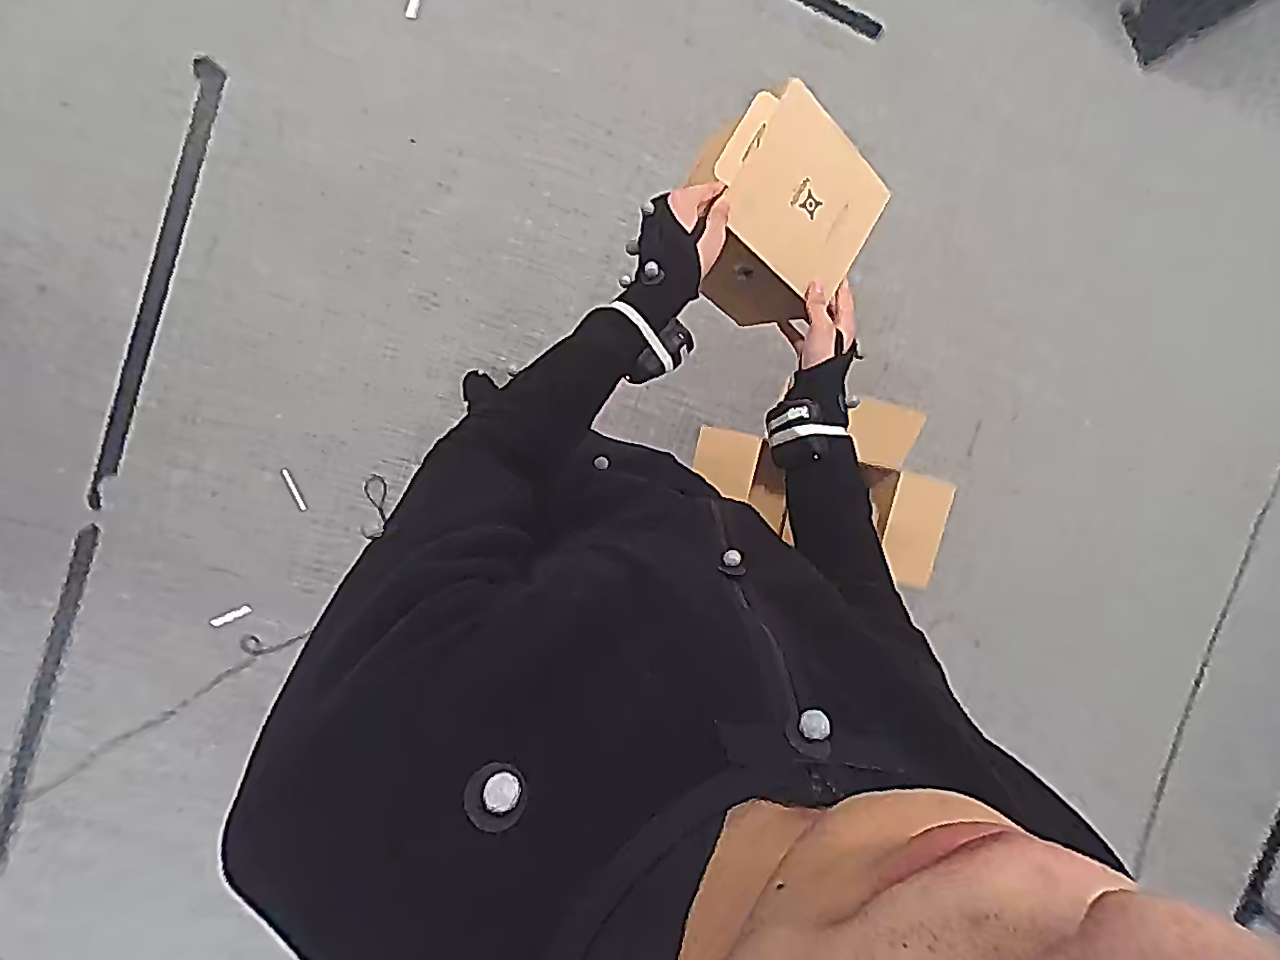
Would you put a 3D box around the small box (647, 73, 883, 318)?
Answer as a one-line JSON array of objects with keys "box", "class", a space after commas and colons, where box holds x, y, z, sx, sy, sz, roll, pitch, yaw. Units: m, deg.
[{"box": [0.136, -0.310, 0.639, 0.179, 0.176, 0.168, 30, 88, -25], "class": "small box"}]
